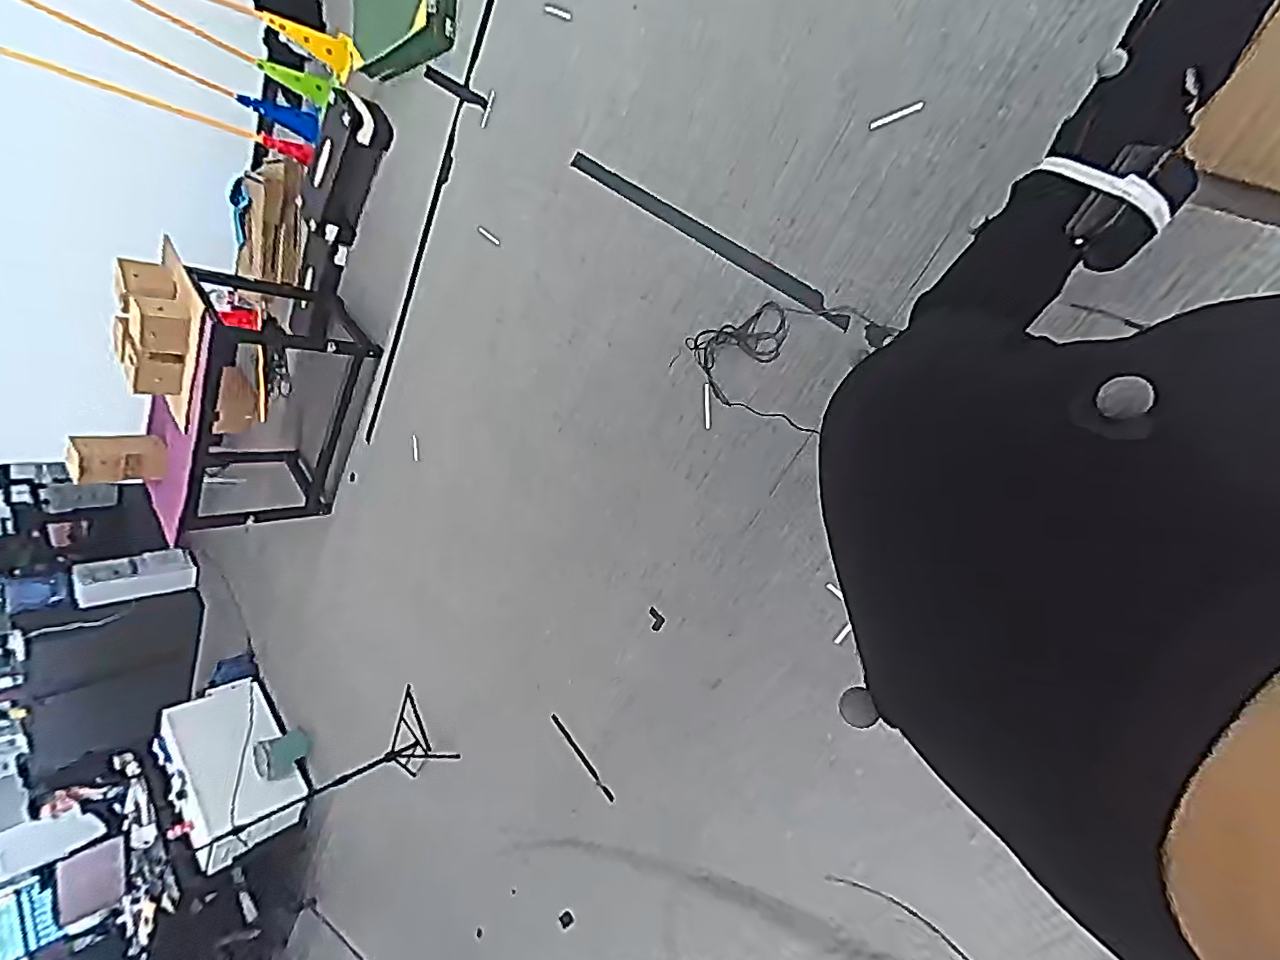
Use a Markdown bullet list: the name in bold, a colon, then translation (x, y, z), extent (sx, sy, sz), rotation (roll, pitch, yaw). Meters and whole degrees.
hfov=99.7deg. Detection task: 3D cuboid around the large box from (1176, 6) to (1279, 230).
- **large box**: translation (0.650, -0.278, 0.307), extent (0.408, 0.320, 0.320), rotation (39, 130, 28)
